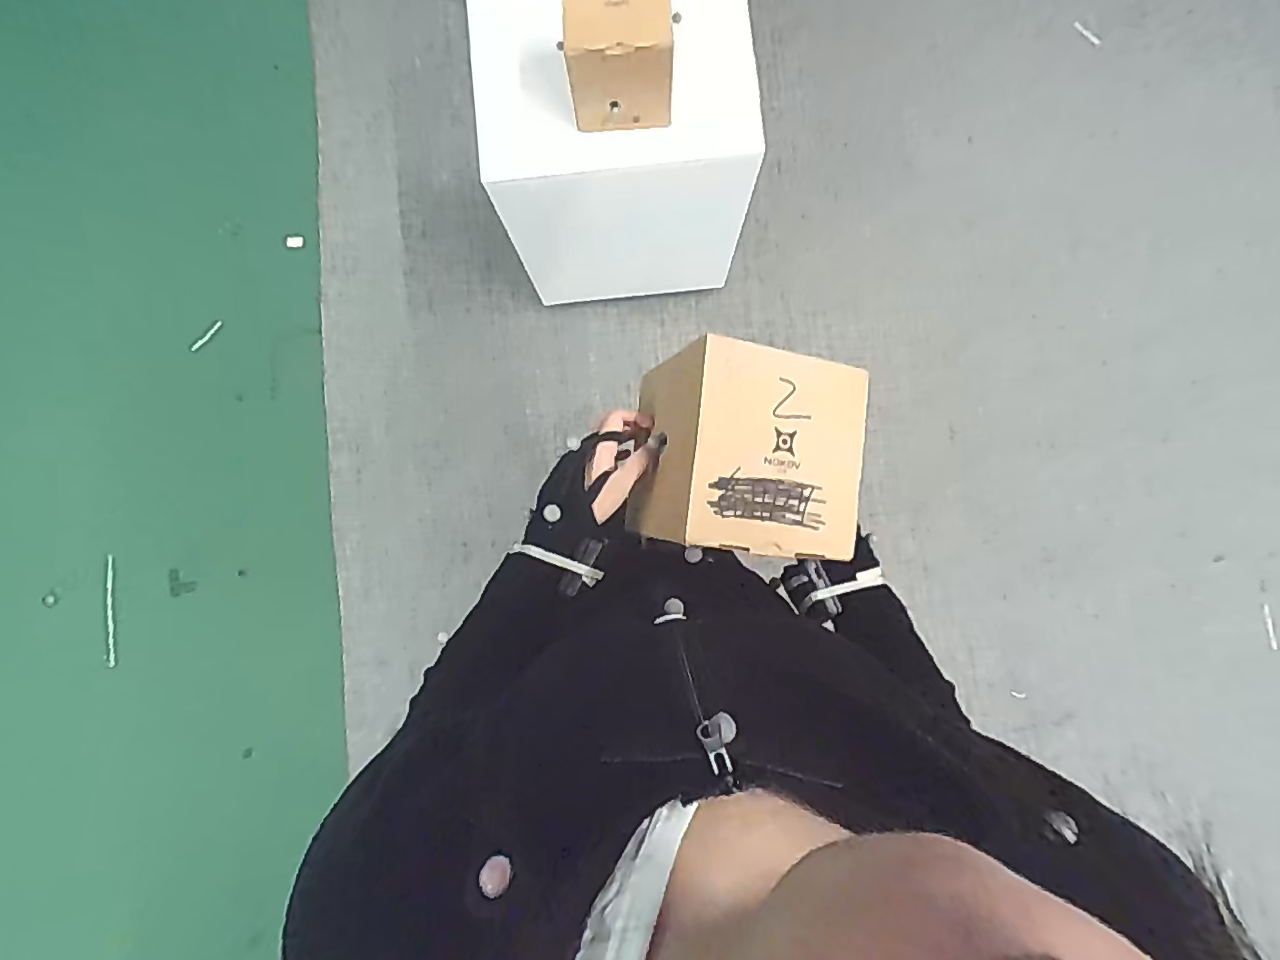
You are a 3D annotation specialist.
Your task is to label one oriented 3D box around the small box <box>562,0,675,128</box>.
[{"bbox_3d":[-0.033,-0.712,0.873,0.168,0.176,0.179,-3,85,1],"label":"small box"}]
